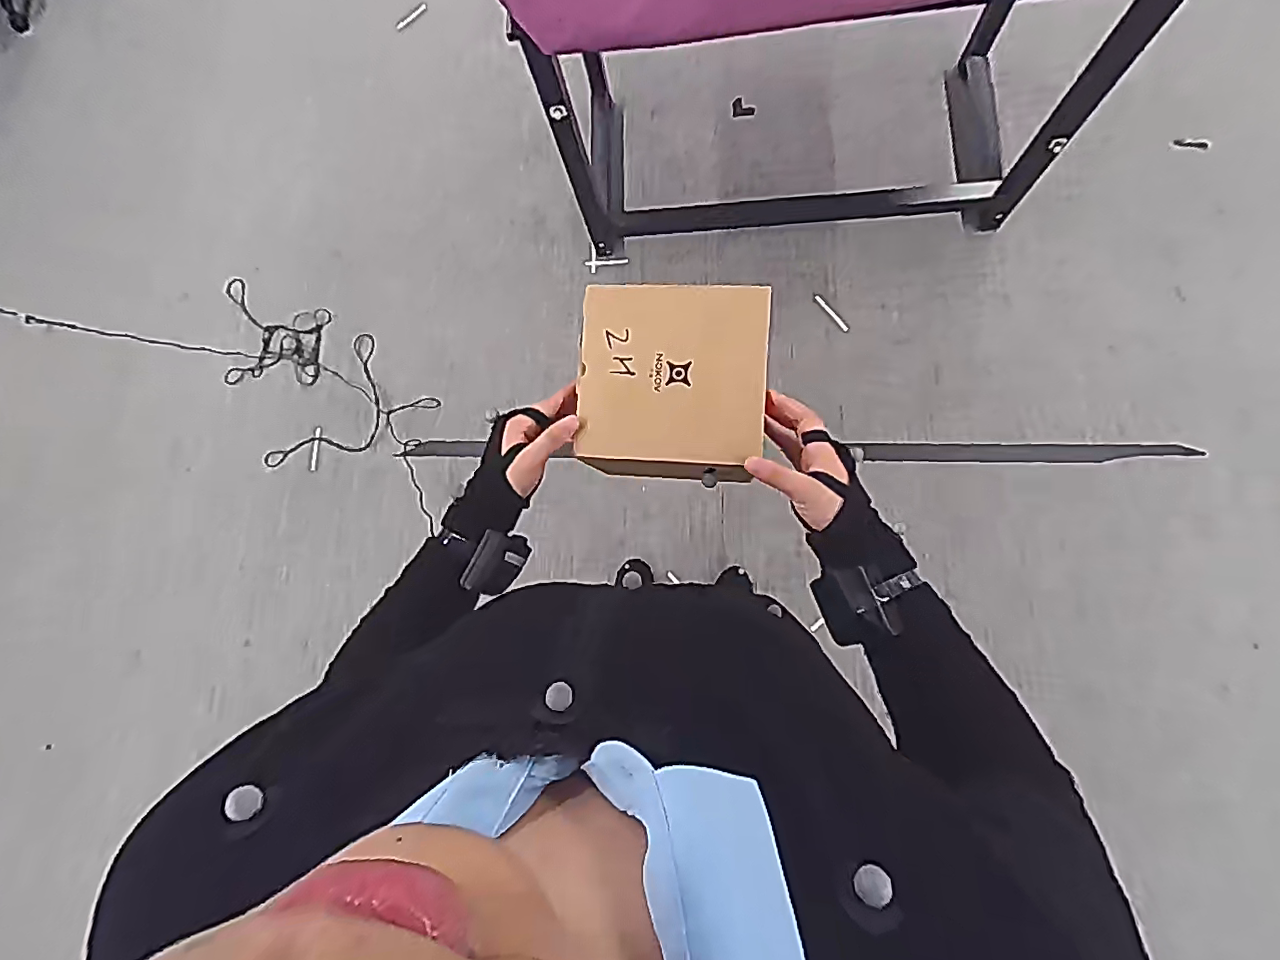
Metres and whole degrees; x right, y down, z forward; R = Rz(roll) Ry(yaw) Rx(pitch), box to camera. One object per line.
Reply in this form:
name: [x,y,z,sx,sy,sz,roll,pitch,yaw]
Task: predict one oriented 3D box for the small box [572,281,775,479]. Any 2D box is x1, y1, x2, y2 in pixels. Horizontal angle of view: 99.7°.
small box: [0.040,-0.093,0.572,0.179,0.176,0.168,4,85,9]
